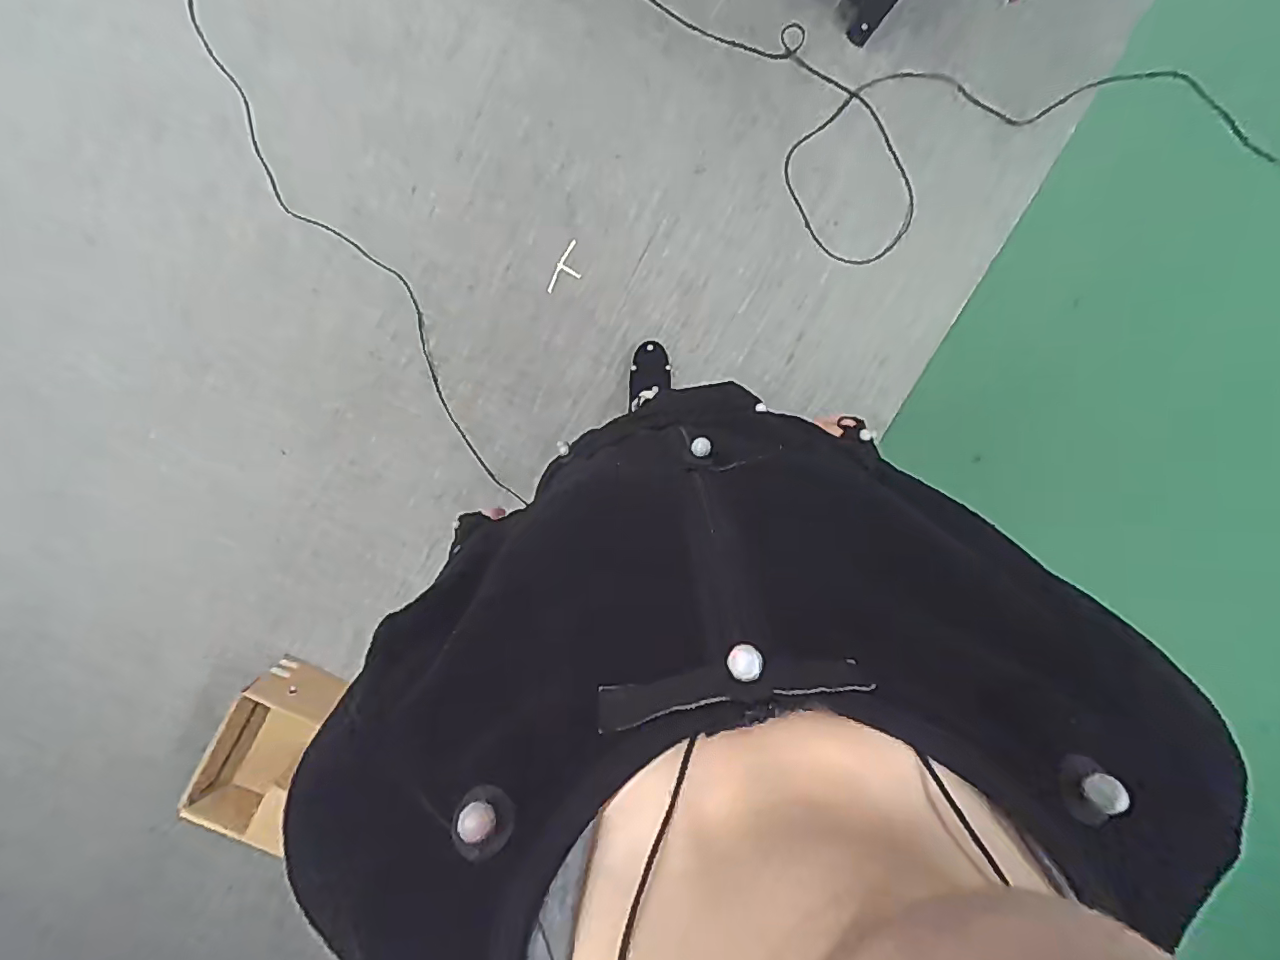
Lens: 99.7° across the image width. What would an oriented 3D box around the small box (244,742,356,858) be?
[{"bbox_3d":[-0.910,0.861,1.466,0.168,0.176,0.179,31,96,-9],"label":"small box"}]
